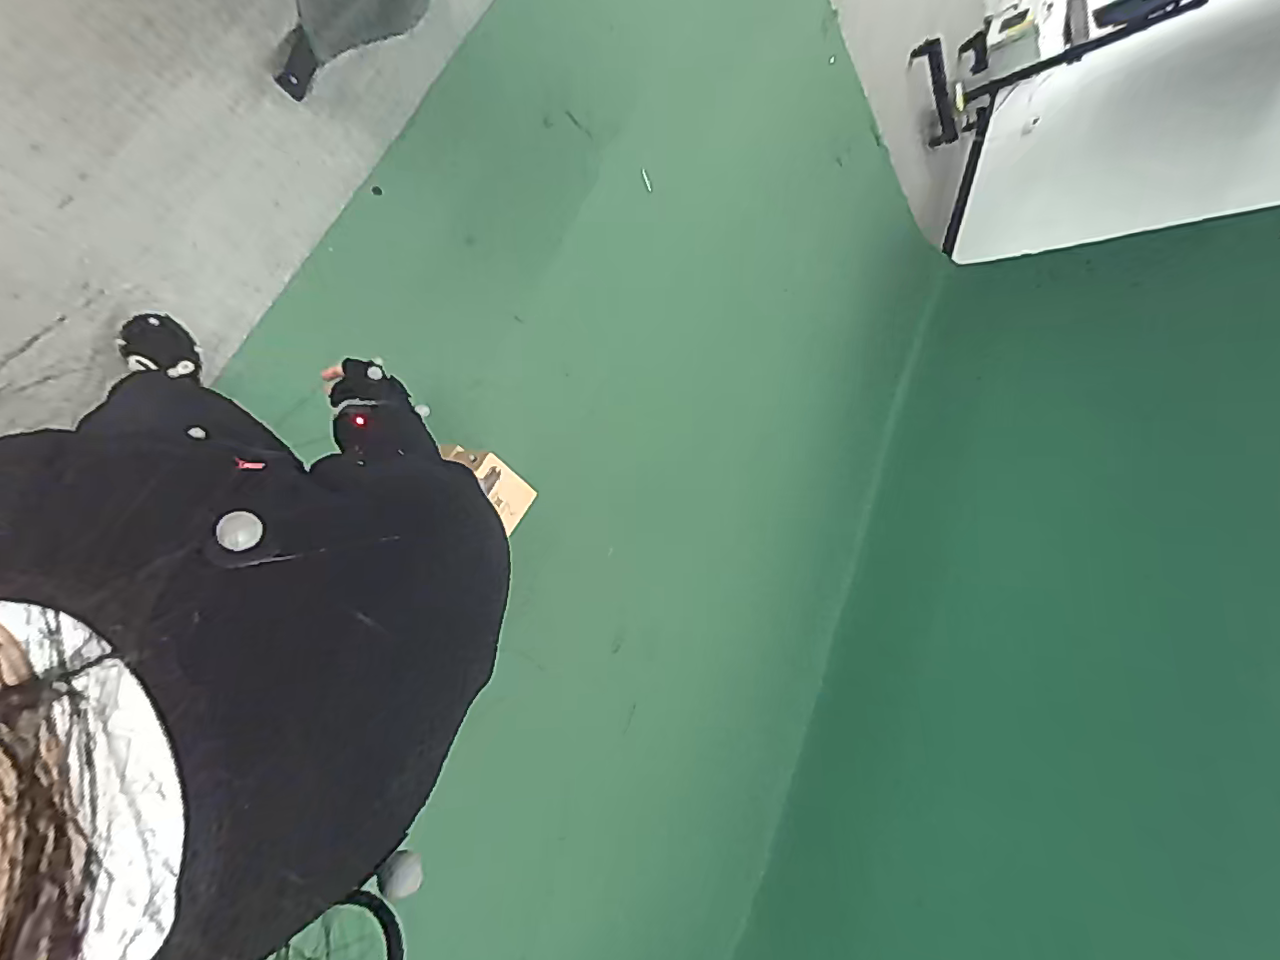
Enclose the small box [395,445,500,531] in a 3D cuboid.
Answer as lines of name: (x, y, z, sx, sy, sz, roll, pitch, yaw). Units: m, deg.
small box: (-0.529, 0.016, 1.481, 0.179, 0.176, 0.168, 49, 61, -34)
